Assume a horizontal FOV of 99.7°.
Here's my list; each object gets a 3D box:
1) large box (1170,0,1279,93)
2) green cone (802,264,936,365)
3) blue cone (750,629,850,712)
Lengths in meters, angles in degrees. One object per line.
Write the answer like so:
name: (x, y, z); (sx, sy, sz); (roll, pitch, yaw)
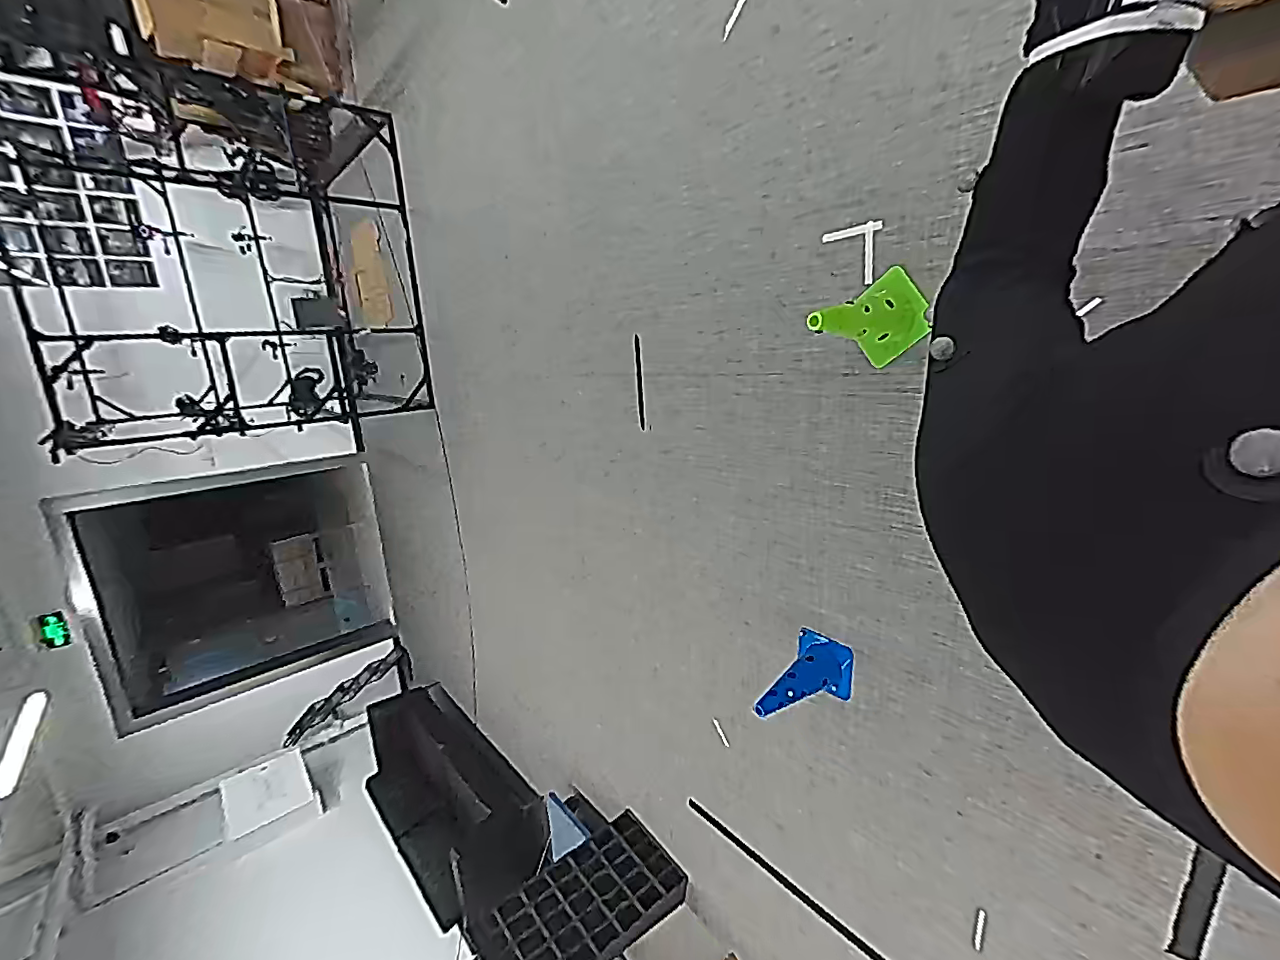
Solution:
large box: (0.553, -0.443, 0.241); (0.408, 0.320, 0.320); (14, 117, 47)
green cone: (0.527, -0.405, 1.342); (0.202, 0.368, 0.200); (-45, 66, 49)
blue cone: (0.499, 0.653, 1.746); (0.192, 0.380, 0.193); (19, 115, 48)
